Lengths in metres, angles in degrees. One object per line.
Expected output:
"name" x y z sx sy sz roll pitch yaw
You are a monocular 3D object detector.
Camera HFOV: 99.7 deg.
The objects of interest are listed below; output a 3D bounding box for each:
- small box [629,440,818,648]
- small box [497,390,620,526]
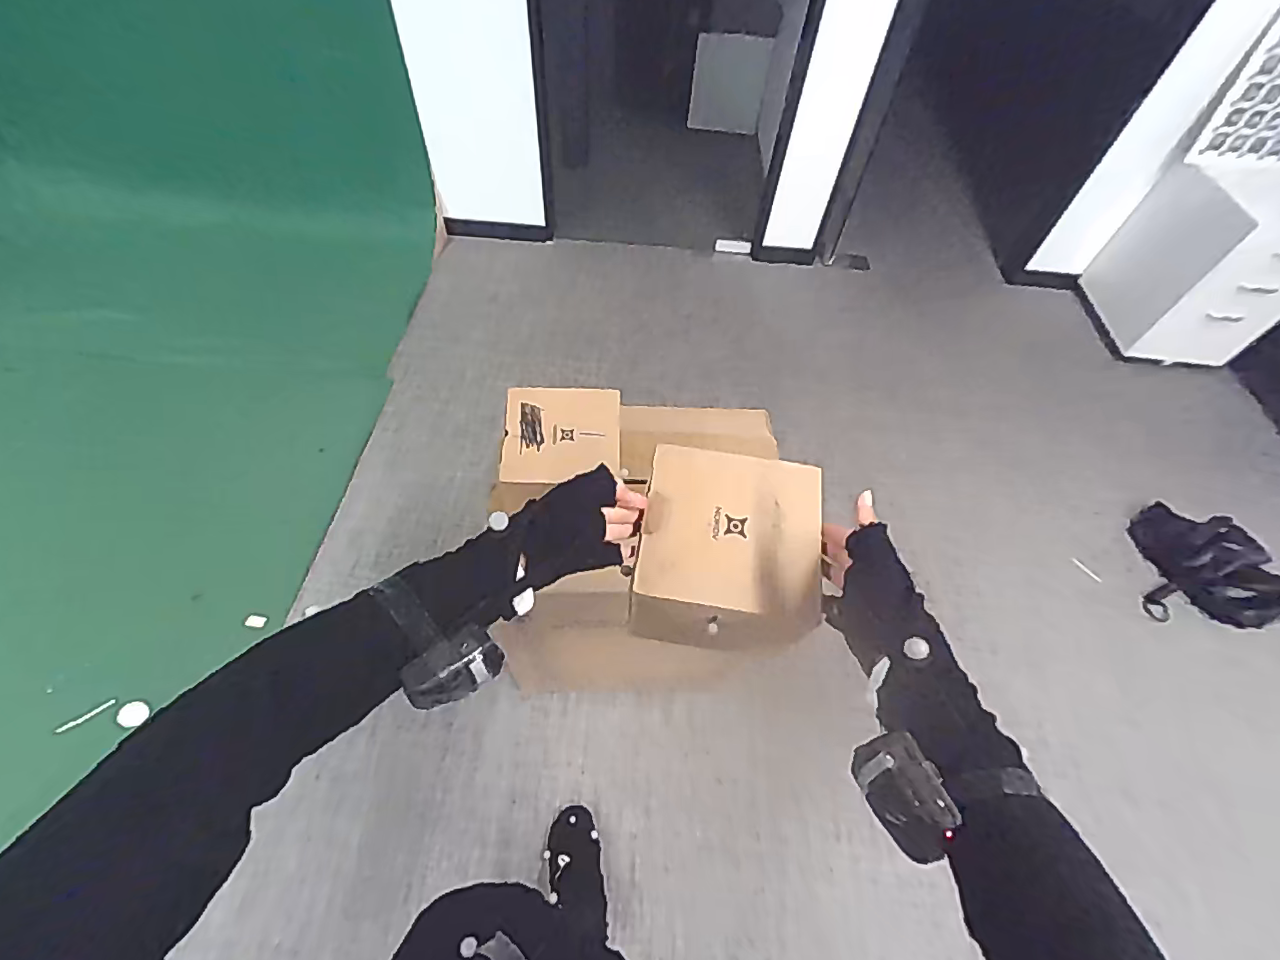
"small box" 0.084 0.079 0.601 0.179 0.176 0.168 9 61 1
"small box" -0.124 -0.029 0.881 0.179 0.176 0.168 1 64 -5
